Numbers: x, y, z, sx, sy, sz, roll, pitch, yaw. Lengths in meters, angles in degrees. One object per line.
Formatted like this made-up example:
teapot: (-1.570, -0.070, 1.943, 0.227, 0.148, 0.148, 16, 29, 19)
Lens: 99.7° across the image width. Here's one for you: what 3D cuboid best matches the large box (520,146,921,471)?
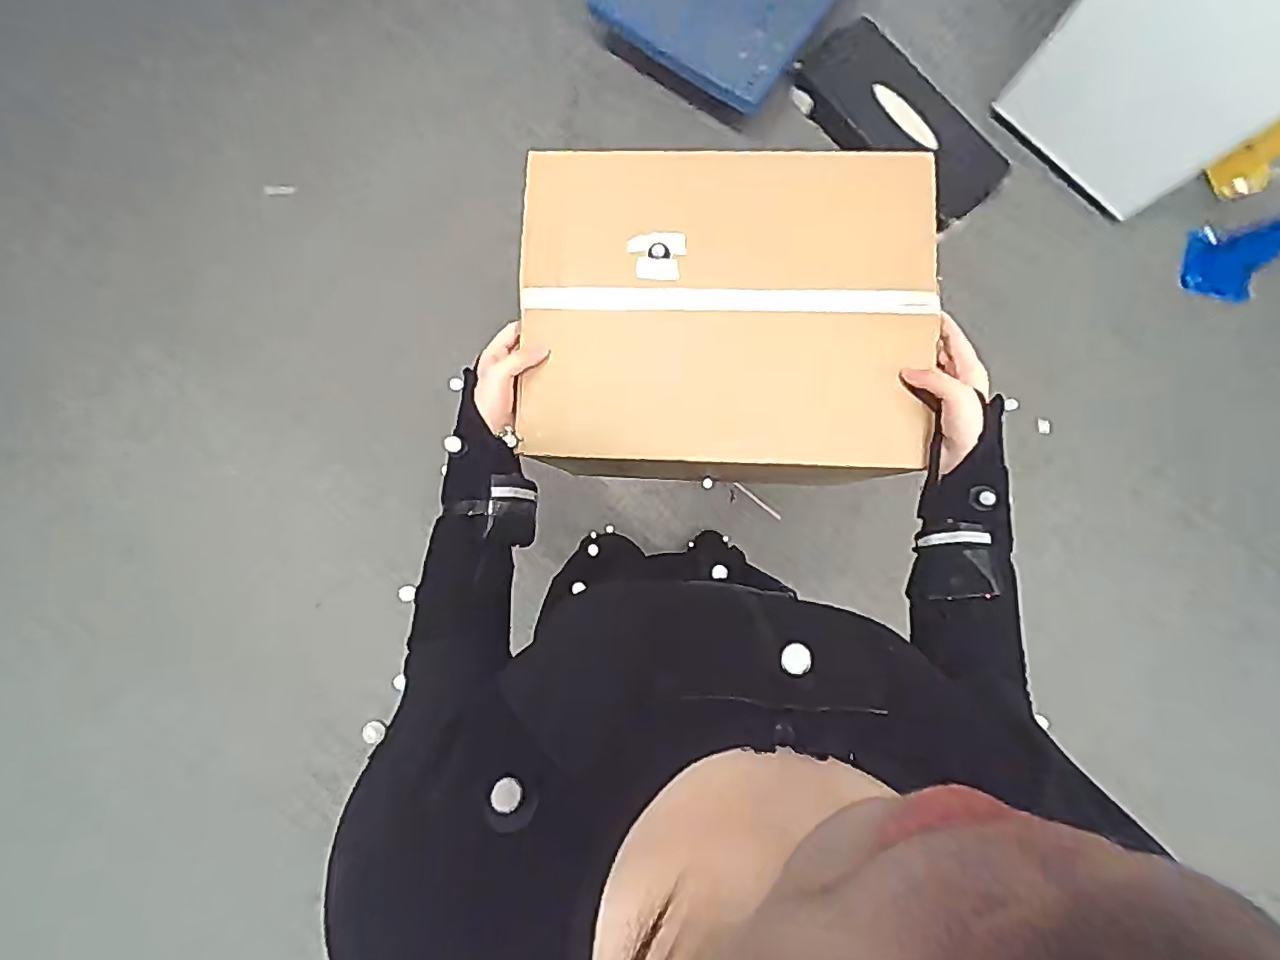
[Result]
large box: (0.089, -0.172, 0.692, 0.408, 0.320, 0.320, 1, 87, 5)
